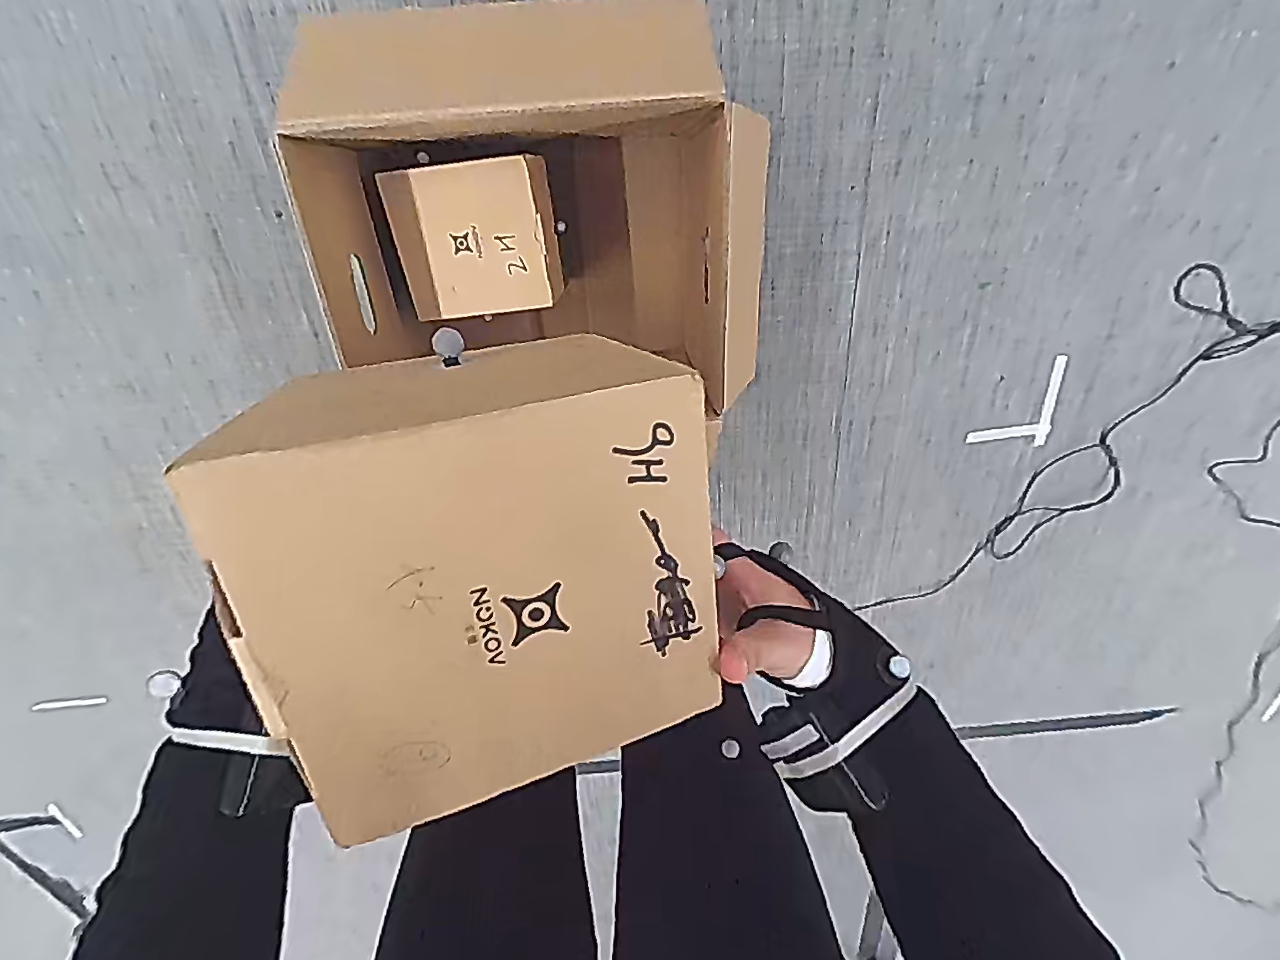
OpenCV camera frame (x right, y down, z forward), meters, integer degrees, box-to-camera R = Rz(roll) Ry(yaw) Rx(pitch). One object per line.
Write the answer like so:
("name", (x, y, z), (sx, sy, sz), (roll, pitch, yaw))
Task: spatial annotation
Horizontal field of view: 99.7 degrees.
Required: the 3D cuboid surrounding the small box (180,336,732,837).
("small box", (-0.070, 0.023, 0.277), (0.179, 0.176, 0.168), (-12, 112, -16))
